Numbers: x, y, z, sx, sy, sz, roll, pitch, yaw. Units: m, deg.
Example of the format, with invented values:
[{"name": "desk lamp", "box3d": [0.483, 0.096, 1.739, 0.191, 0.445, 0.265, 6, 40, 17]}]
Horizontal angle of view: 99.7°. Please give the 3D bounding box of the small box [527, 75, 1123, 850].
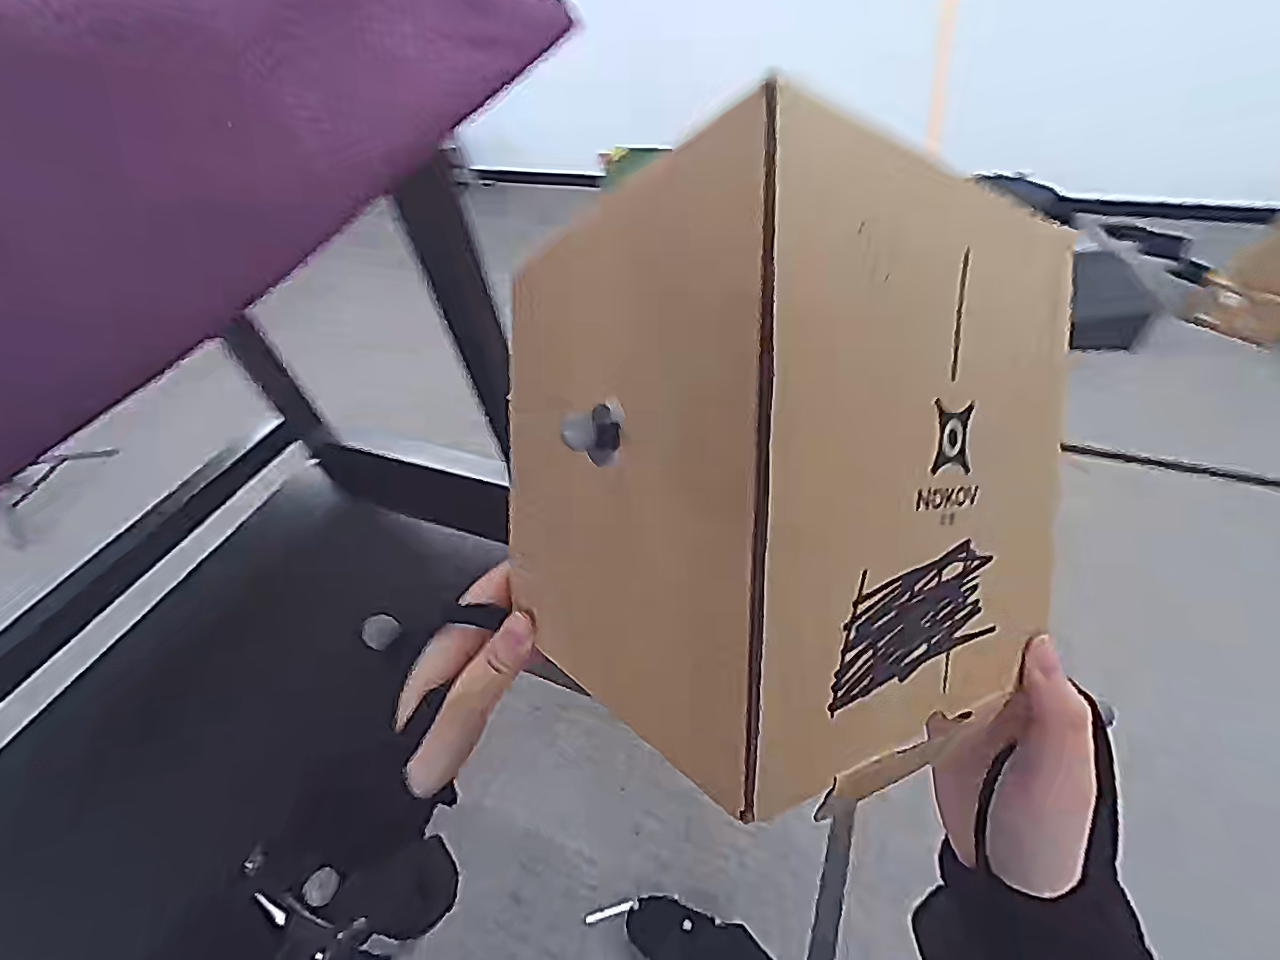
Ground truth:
[{"name": "small box", "box3d": [0.059, -0.004, 0.228, 0.168, 0.179, 0.176, 1, 2, -32]}]
